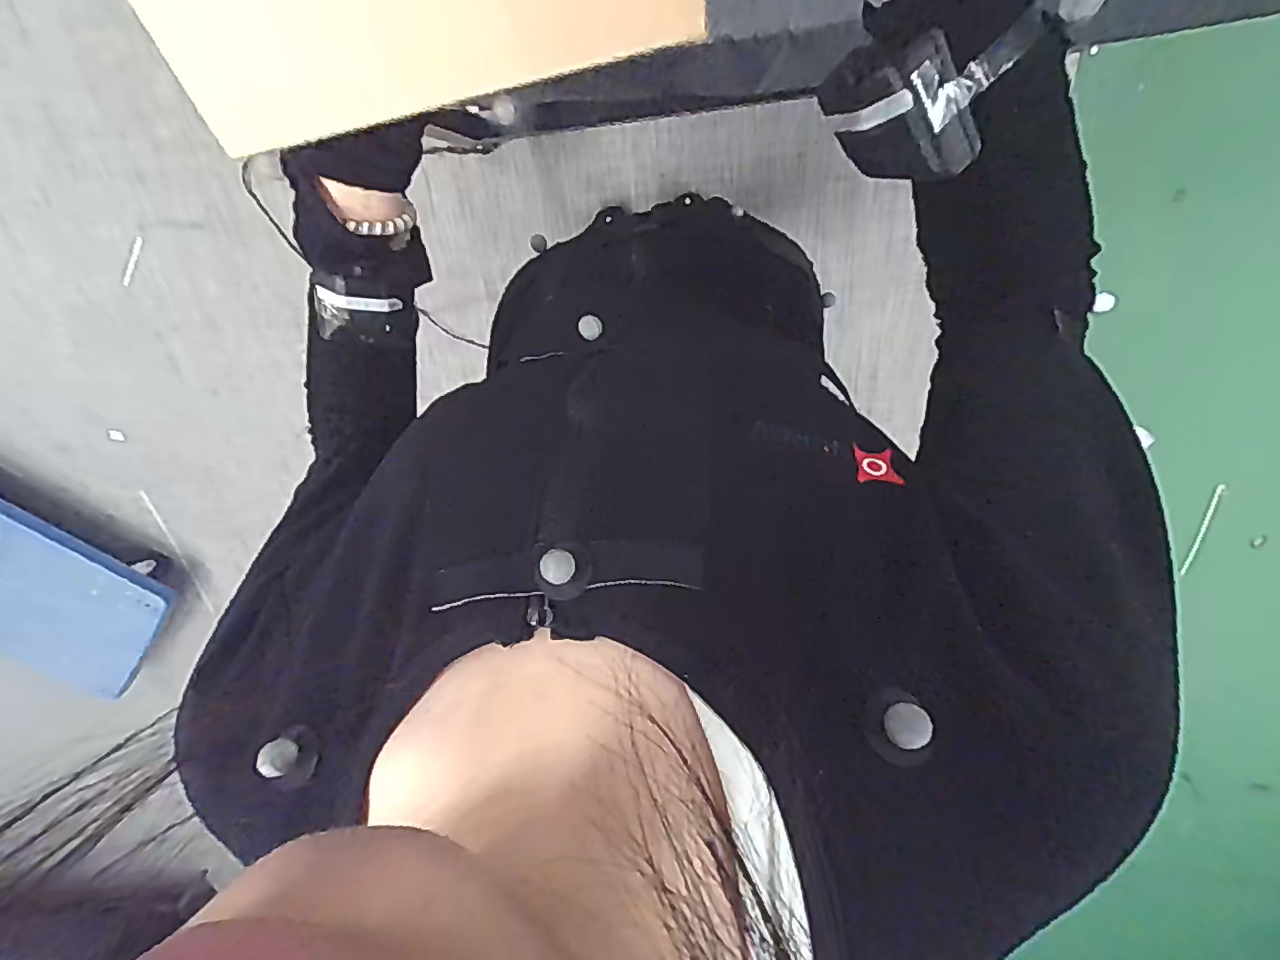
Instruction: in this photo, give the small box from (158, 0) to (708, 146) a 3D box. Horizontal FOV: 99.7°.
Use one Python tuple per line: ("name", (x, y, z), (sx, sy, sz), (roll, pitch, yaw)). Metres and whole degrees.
("small box", (-0.070, -0.242, 0.180), (0.168, 0.176, 0.179), (-8, 130, 9))
